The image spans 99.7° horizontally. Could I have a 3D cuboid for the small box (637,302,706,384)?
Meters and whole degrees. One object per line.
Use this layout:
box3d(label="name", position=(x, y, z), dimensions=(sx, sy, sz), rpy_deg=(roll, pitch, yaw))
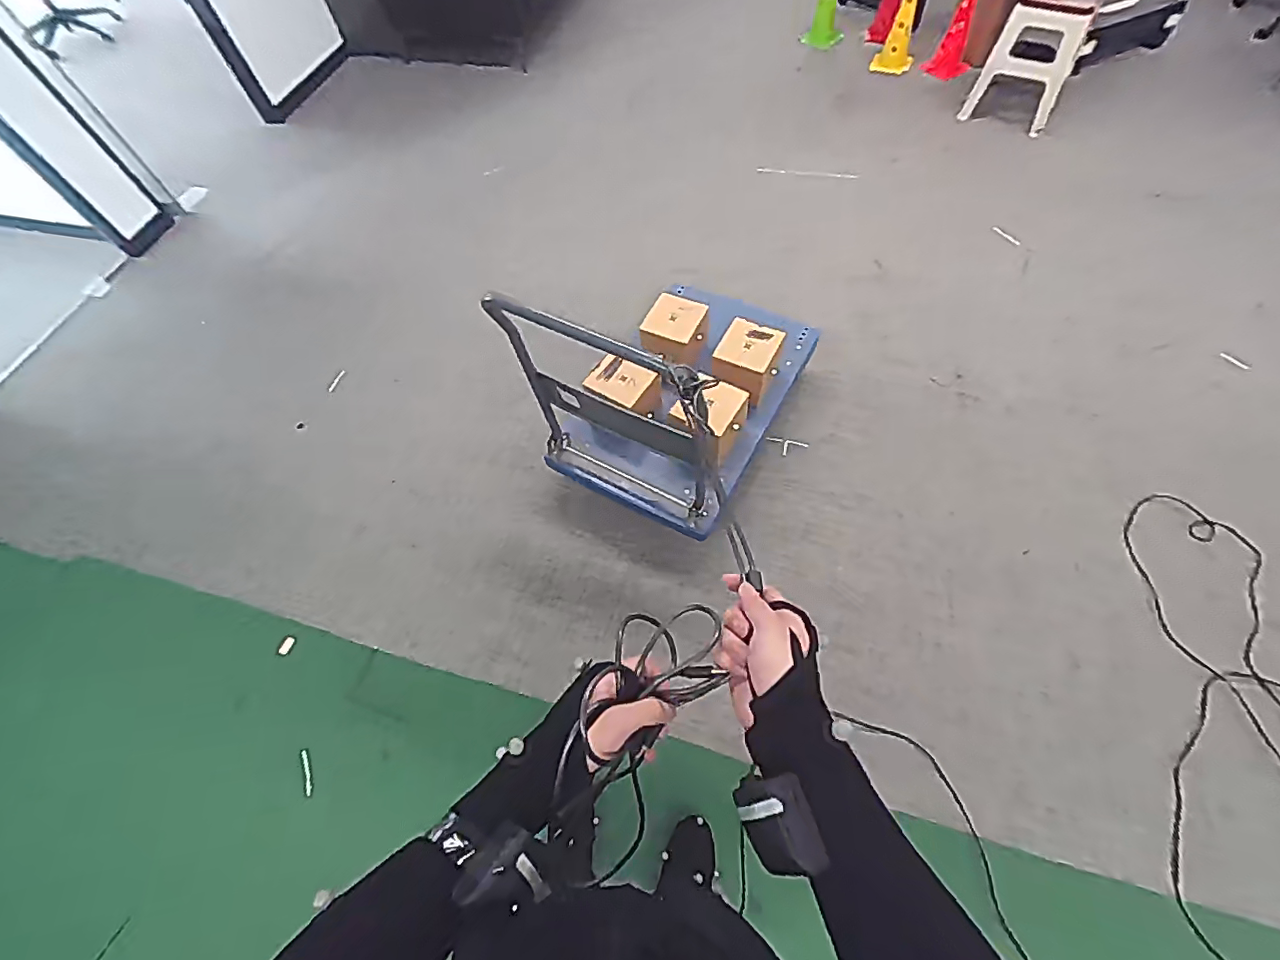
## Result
box3d(label="small box", position=(0.108, -0.442, 1.761), dimensions=(0.168, 0.176, 0.179), rpy_deg=(22, 65, 17))

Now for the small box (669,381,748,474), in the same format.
box3d(label="small box", position=(0.197, -0.152, 1.586), dimensions=(0.168, 0.176, 0.179), rpy_deg=(27, 67, 19))

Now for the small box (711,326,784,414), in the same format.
box3d(label="small box", position=(0.328, -0.340, 1.679), dimensions=(0.168, 0.176, 0.179), rpy_deg=(23, 66, 19))
